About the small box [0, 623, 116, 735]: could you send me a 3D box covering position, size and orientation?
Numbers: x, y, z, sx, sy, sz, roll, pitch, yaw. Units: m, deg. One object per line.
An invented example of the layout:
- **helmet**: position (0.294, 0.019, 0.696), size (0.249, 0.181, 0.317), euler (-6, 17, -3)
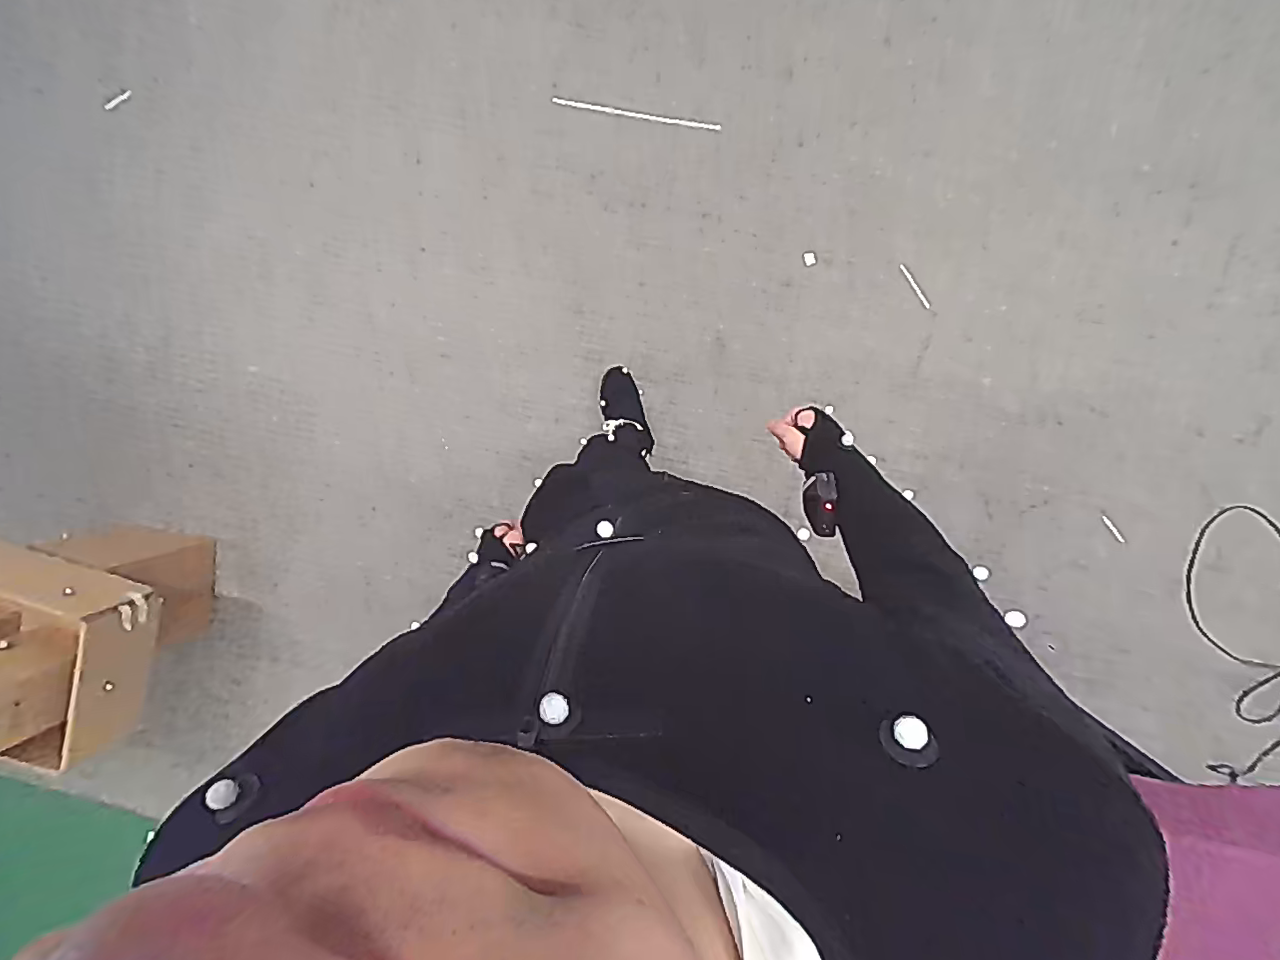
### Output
- **small box**: position (-1.408, 0.456, 1.273), size (0.179, 0.176, 0.168), euler (17, 98, 4)

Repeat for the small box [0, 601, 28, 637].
- **small box**: position (-1.650, 0.385, 1.291), size (0.179, 0.176, 0.168), euler (14, 97, 0)
